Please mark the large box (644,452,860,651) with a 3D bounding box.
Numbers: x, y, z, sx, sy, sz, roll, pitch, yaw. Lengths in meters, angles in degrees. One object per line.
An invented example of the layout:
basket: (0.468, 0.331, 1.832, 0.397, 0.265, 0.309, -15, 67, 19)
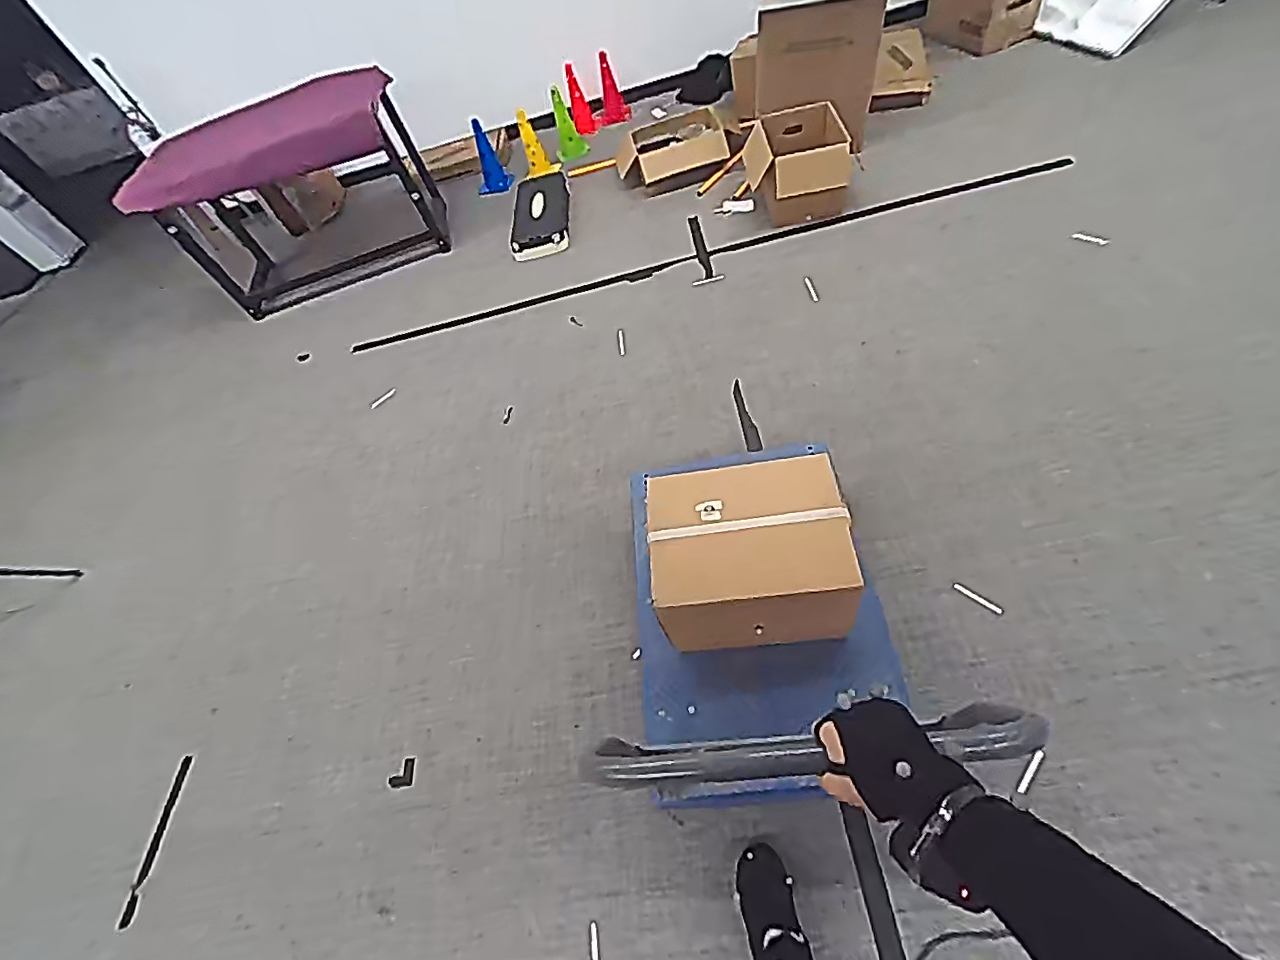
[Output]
large box: (0.242, 0.177, 1.228, 0.408, 0.320, 0.320, -9, 54, 10)
